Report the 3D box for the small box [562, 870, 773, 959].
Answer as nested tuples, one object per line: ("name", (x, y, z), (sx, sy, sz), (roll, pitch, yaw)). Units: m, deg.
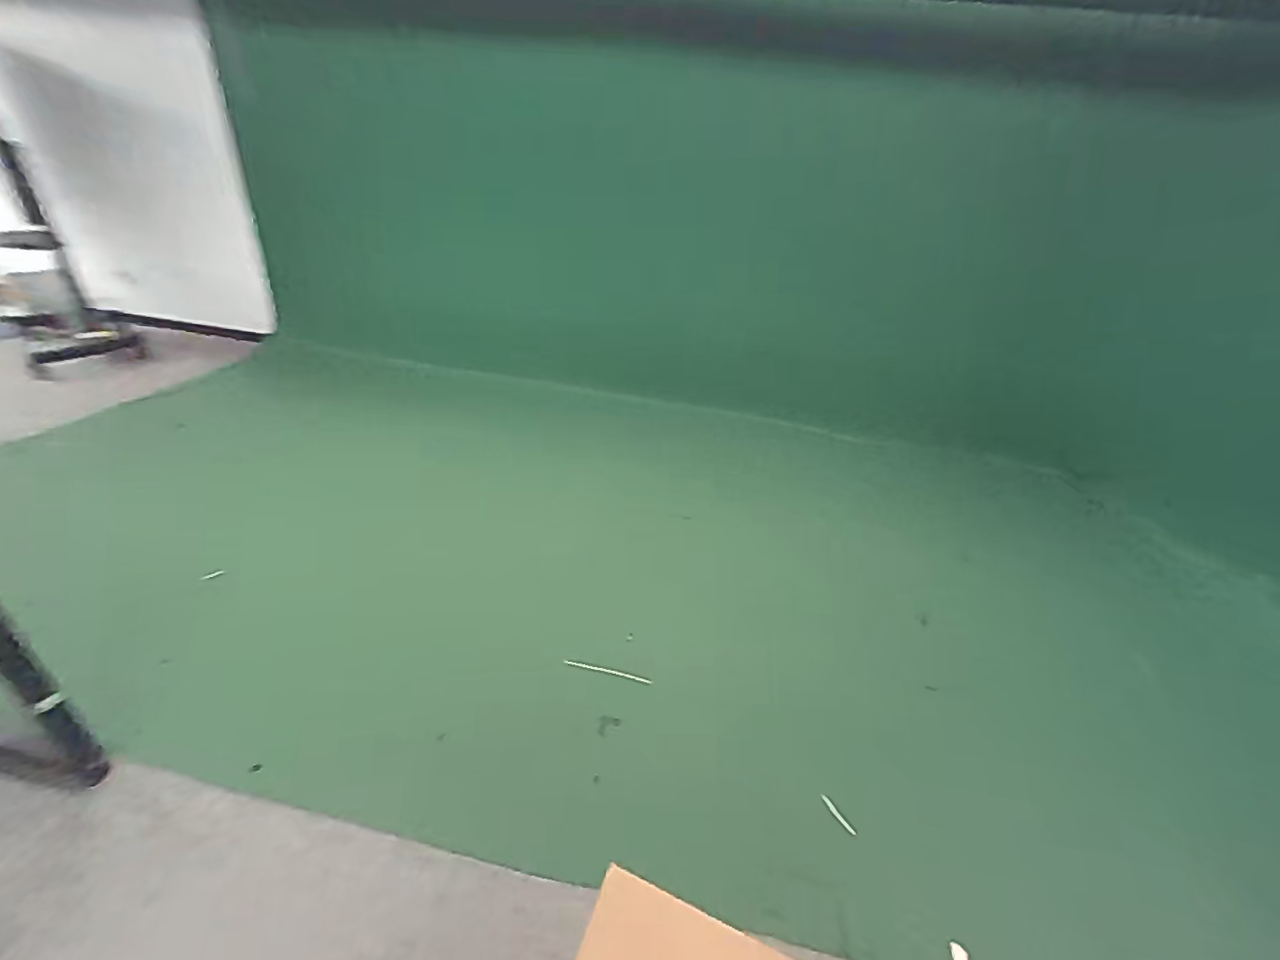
("small box", (0.001, 0.424, 0.379), (0.168, 0.176, 0.179), (20, 45, 12))
